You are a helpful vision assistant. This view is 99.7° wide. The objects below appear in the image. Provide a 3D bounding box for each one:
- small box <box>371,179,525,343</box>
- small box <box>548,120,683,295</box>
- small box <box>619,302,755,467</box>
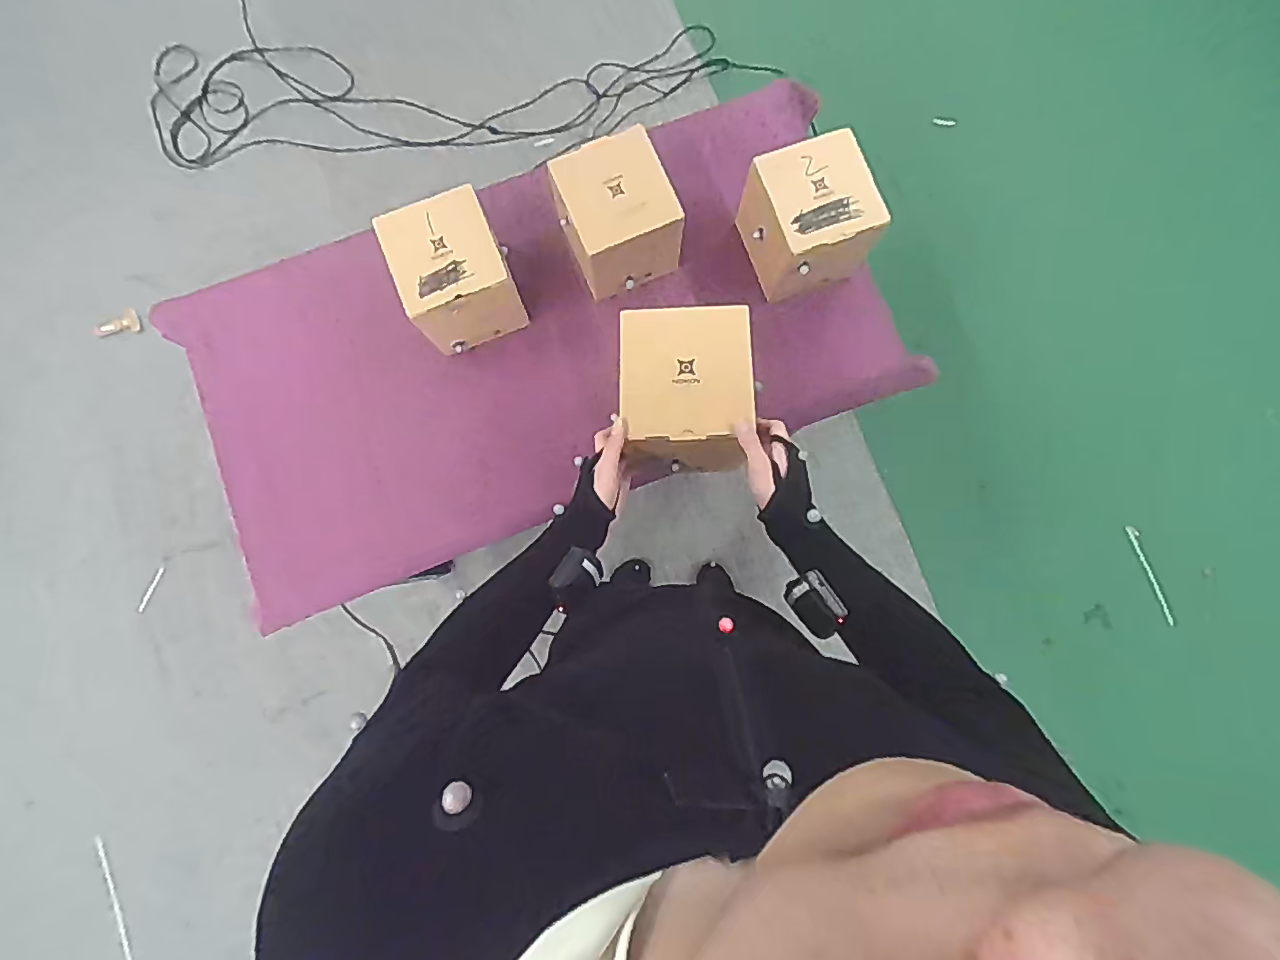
[{"bbox_3d":[-0.305,-0.347,0.897,0.168,0.176,0.179,-22,83,-3],"label":"small box"},{"bbox_3d":[-0.041,-0.449,0.914,0.168,0.176,0.179,-22,84,-3],"label":"small box"},{"bbox_3d":[0.058,-0.122,0.740,0.168,0.176,0.179,0,78,2],"label":"small box"}]
